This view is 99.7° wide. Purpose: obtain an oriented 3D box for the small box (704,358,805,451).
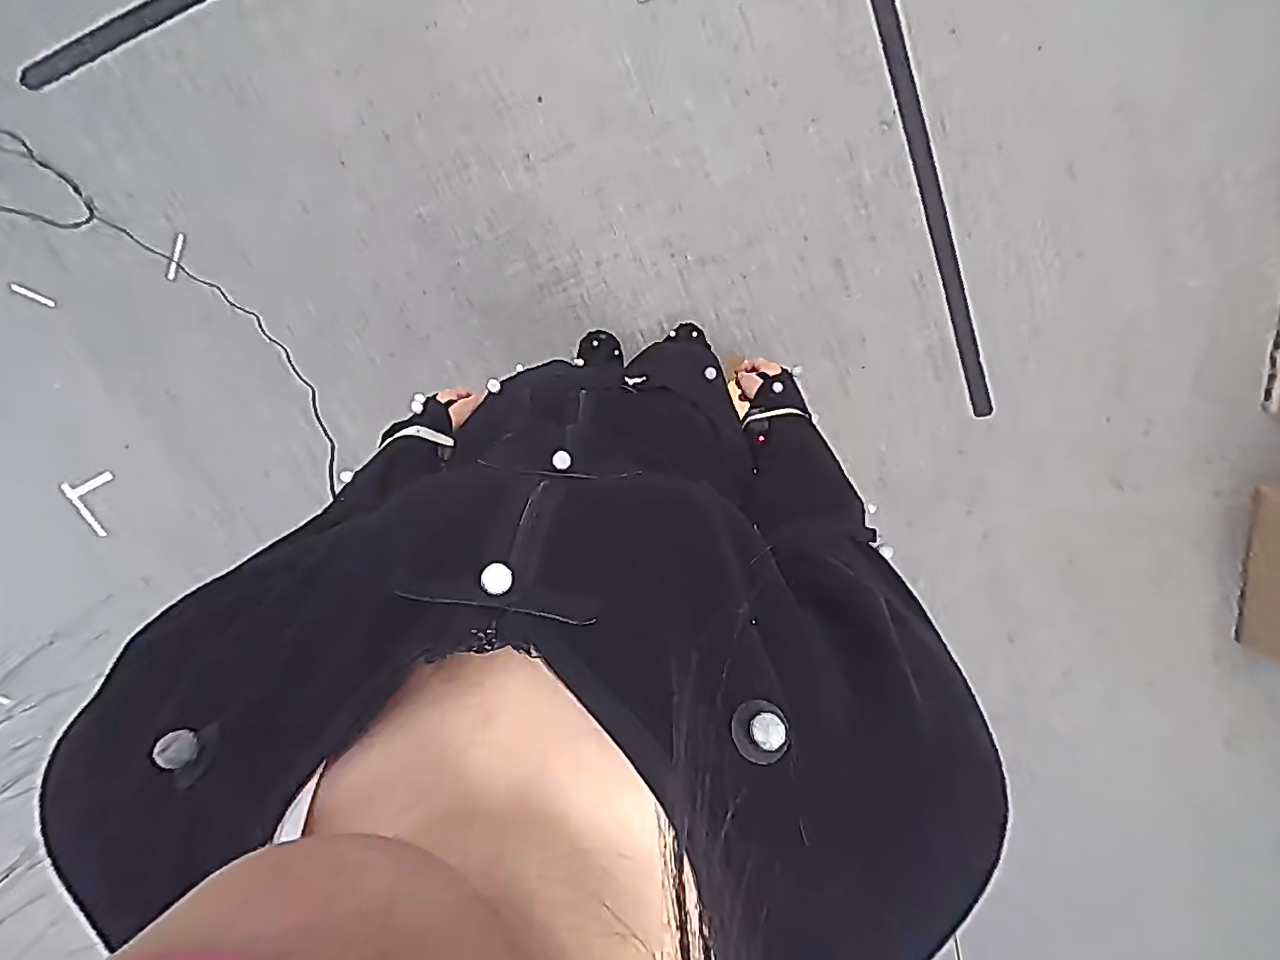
[{"bbox_3d":[0.280,-0.199,1.374,0.179,0.176,0.168,29,105,-9],"label":"small box"}]
